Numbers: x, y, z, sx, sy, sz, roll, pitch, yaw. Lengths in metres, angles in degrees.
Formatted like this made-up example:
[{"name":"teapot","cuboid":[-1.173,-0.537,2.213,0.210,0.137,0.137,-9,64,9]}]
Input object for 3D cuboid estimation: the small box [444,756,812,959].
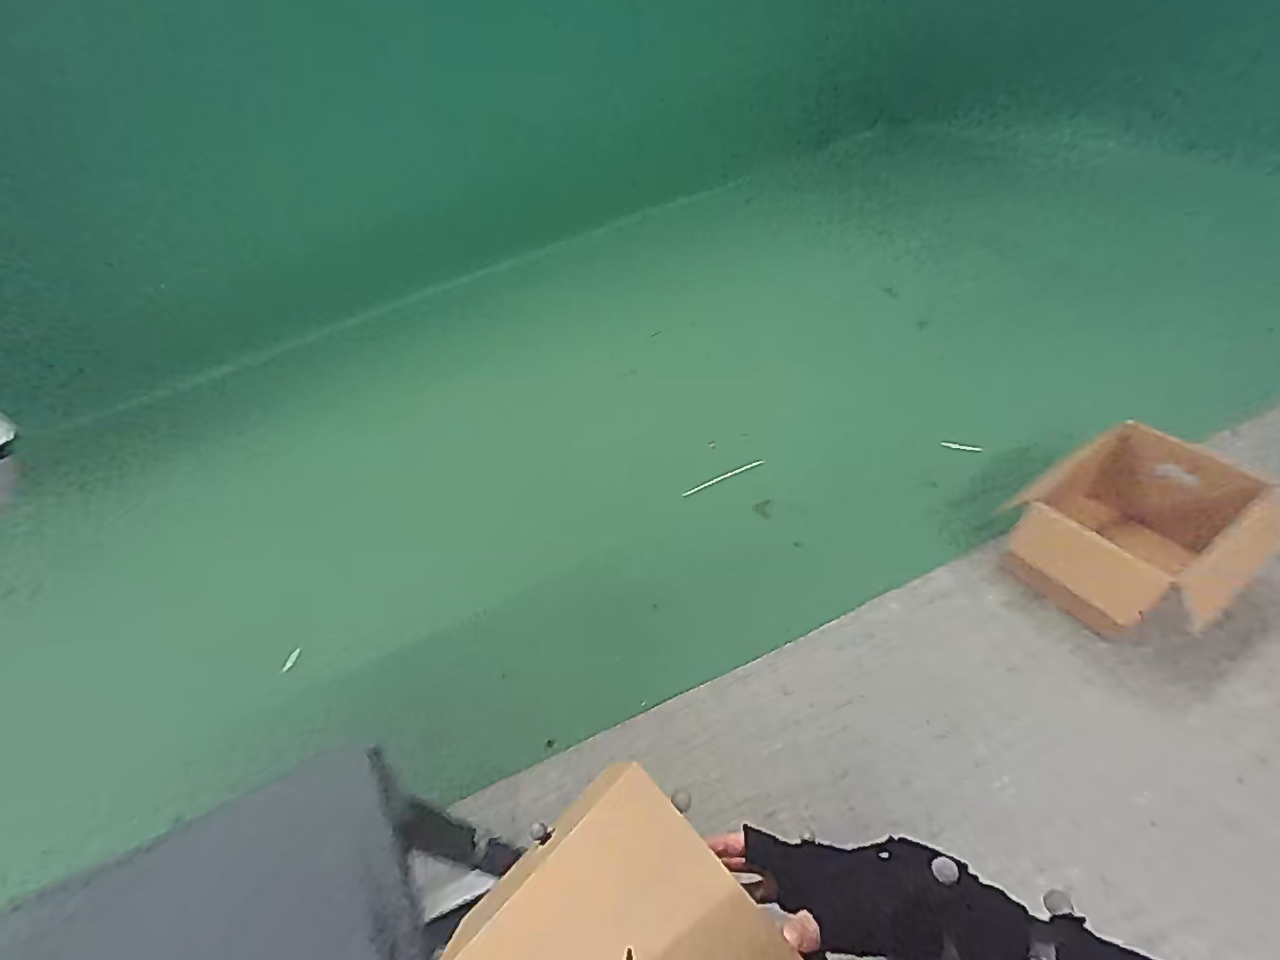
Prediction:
[{"name":"small box","cuboid":[-0.009,0.326,0.374,0.168,0.176,0.179,-37,73,-24]}]
